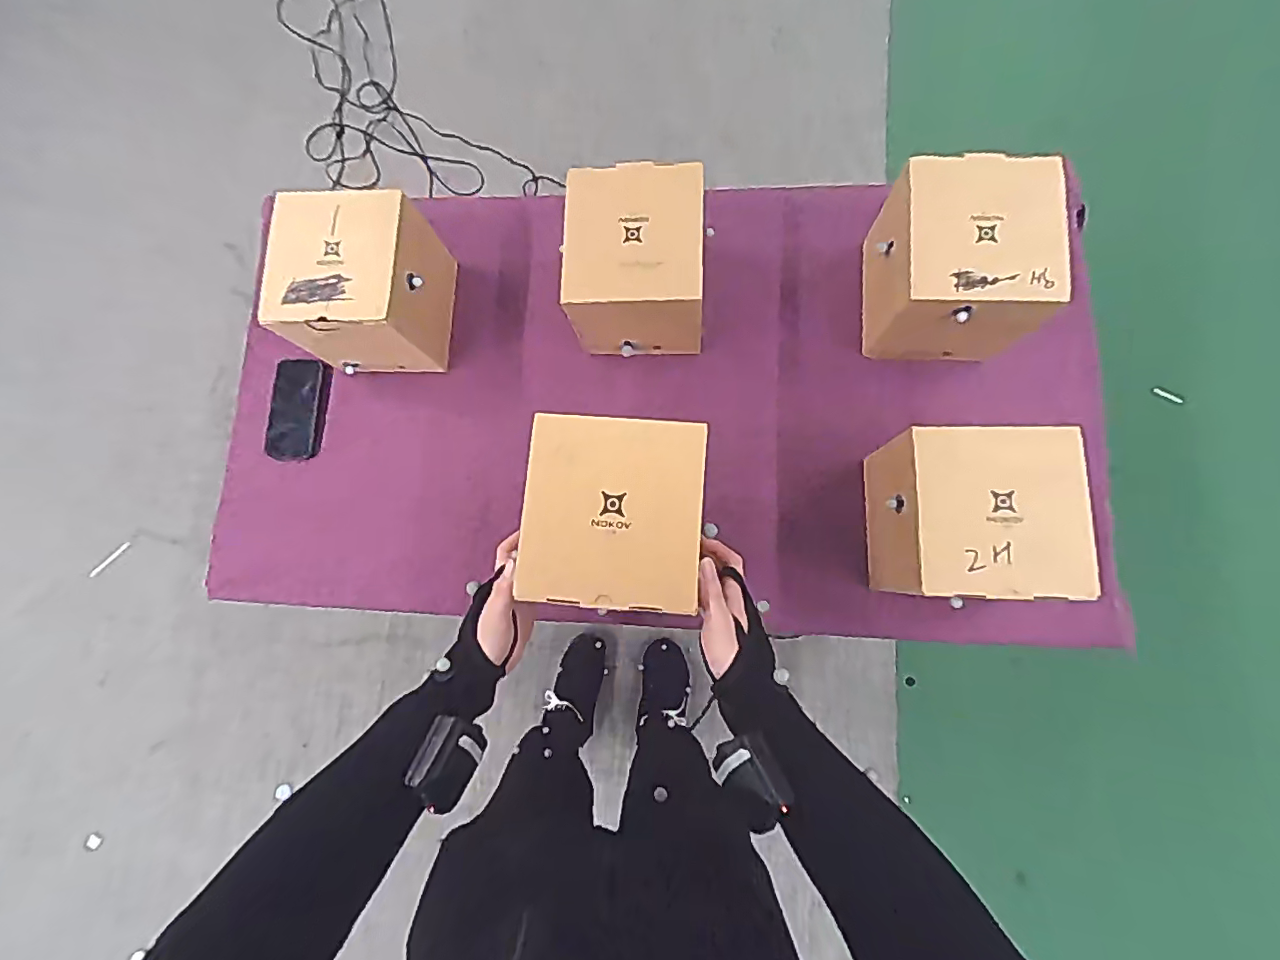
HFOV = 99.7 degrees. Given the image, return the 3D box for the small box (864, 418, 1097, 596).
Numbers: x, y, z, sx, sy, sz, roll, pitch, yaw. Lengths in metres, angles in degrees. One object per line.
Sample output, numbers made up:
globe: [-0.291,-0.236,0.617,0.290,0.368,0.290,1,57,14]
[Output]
small box: [0.363,0.037,0.612,0.168,0.176,0.179,0,81,7]

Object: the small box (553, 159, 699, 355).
small box: [-0.009,-0.279,0.703,0.168,0.176,0.179,1,81,6]

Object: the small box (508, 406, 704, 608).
small box: [-0.026,0.036,0.565,0.168,0.176,0.179,4,80,3]

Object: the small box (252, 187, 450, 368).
small box: [-0.373,-0.260,0.730,0.168,0.176,0.179,1,80,5]

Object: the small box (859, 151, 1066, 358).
small box: [0.378,-0.268,0.666,0.168,0.176,0.179,3,80,6]
